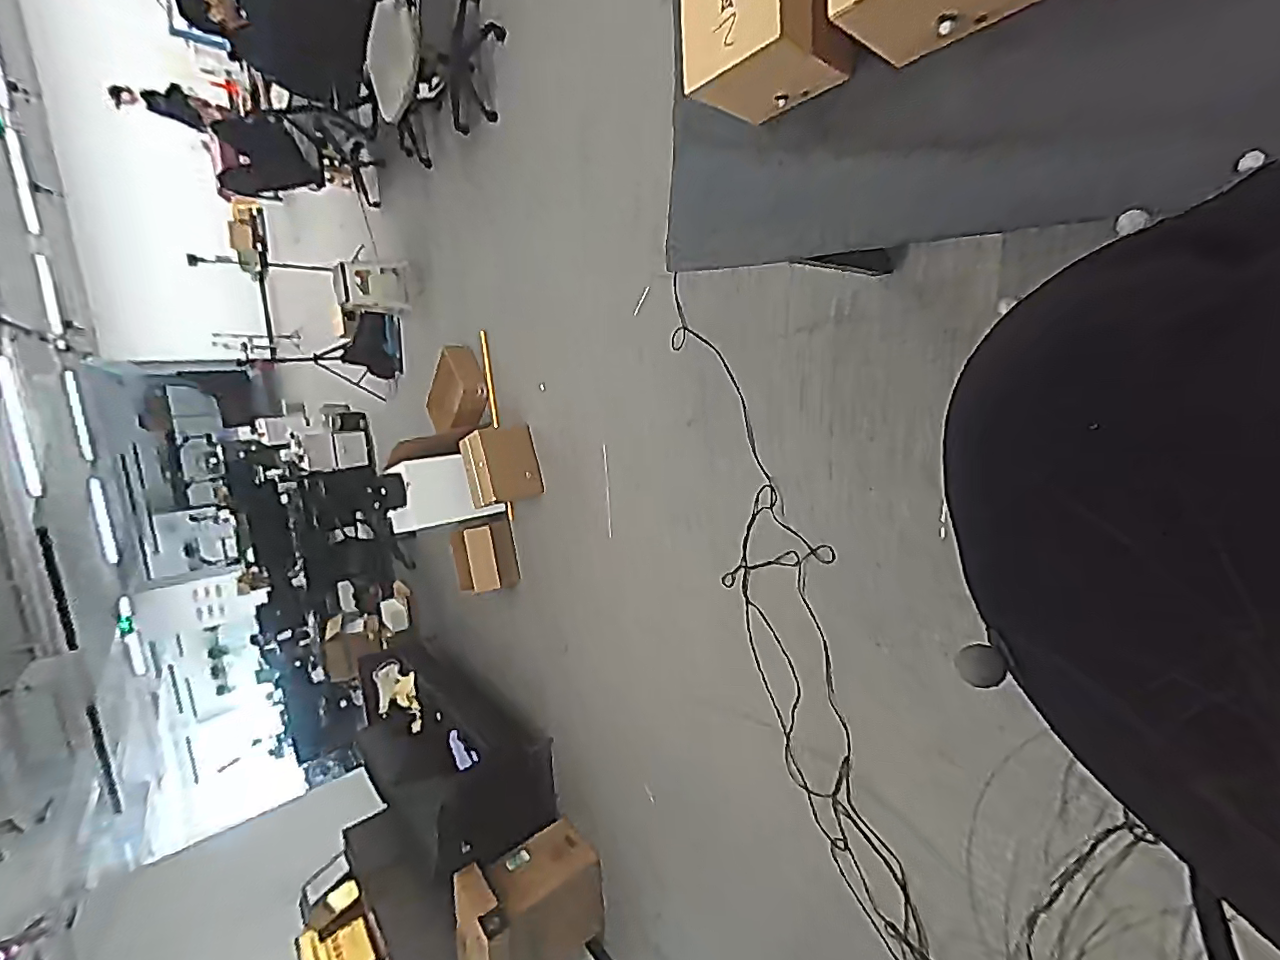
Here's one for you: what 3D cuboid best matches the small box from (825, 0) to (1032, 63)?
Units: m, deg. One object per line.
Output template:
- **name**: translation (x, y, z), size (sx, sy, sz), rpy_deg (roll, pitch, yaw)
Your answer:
- **small box**: translation (0.318, -0.602, 0.579), size (0.168, 0.176, 0.179), rpy_deg (9, 106, 50)
